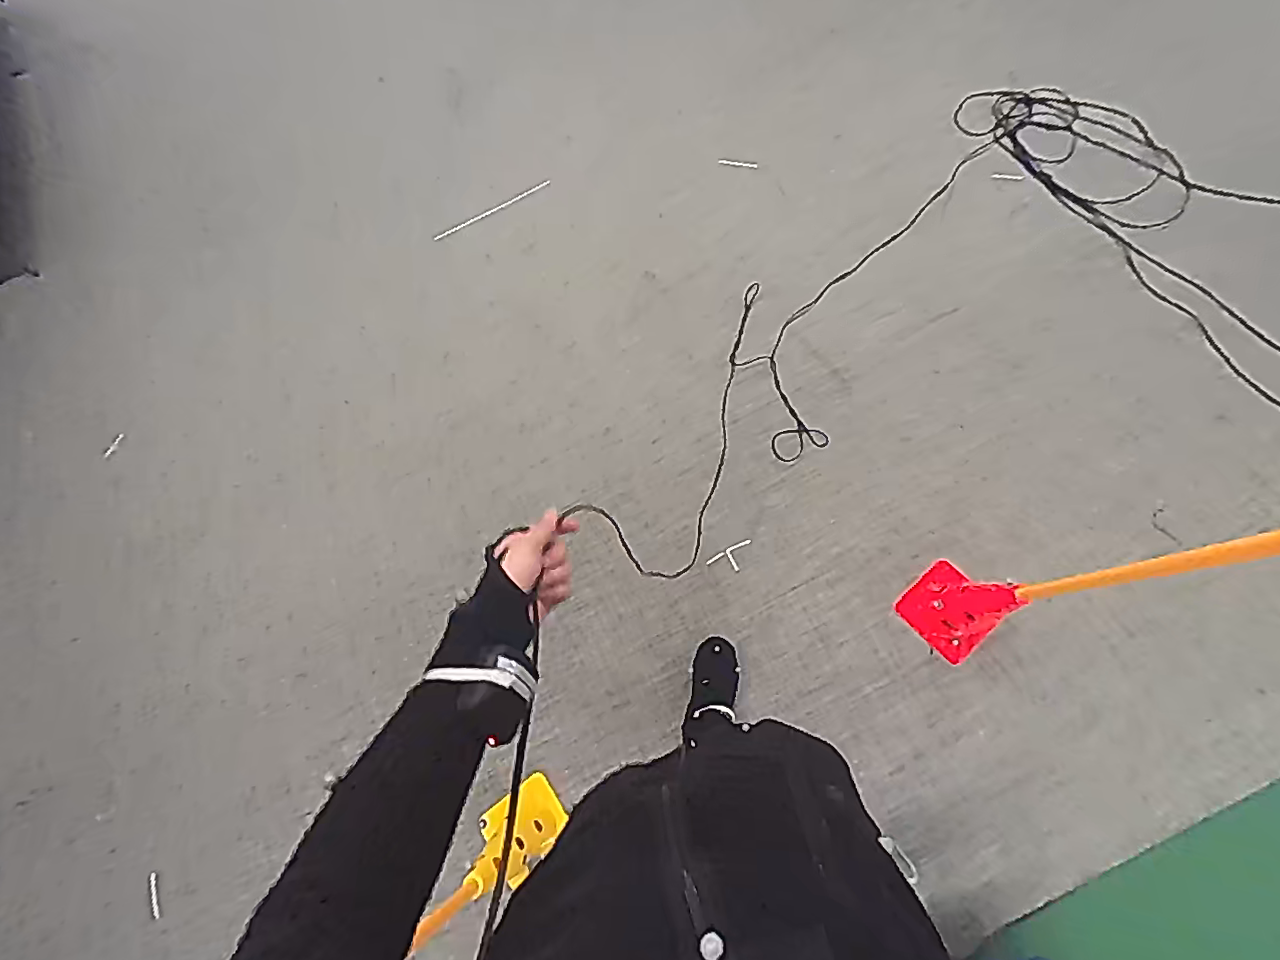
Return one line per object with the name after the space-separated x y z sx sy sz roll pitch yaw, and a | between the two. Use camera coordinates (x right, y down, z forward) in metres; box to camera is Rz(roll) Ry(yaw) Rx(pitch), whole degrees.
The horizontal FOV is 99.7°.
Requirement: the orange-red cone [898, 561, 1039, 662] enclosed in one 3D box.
0.769 0.275 1.209 0.199 0.360 0.198 -40 72 -8 | orange-red cone
